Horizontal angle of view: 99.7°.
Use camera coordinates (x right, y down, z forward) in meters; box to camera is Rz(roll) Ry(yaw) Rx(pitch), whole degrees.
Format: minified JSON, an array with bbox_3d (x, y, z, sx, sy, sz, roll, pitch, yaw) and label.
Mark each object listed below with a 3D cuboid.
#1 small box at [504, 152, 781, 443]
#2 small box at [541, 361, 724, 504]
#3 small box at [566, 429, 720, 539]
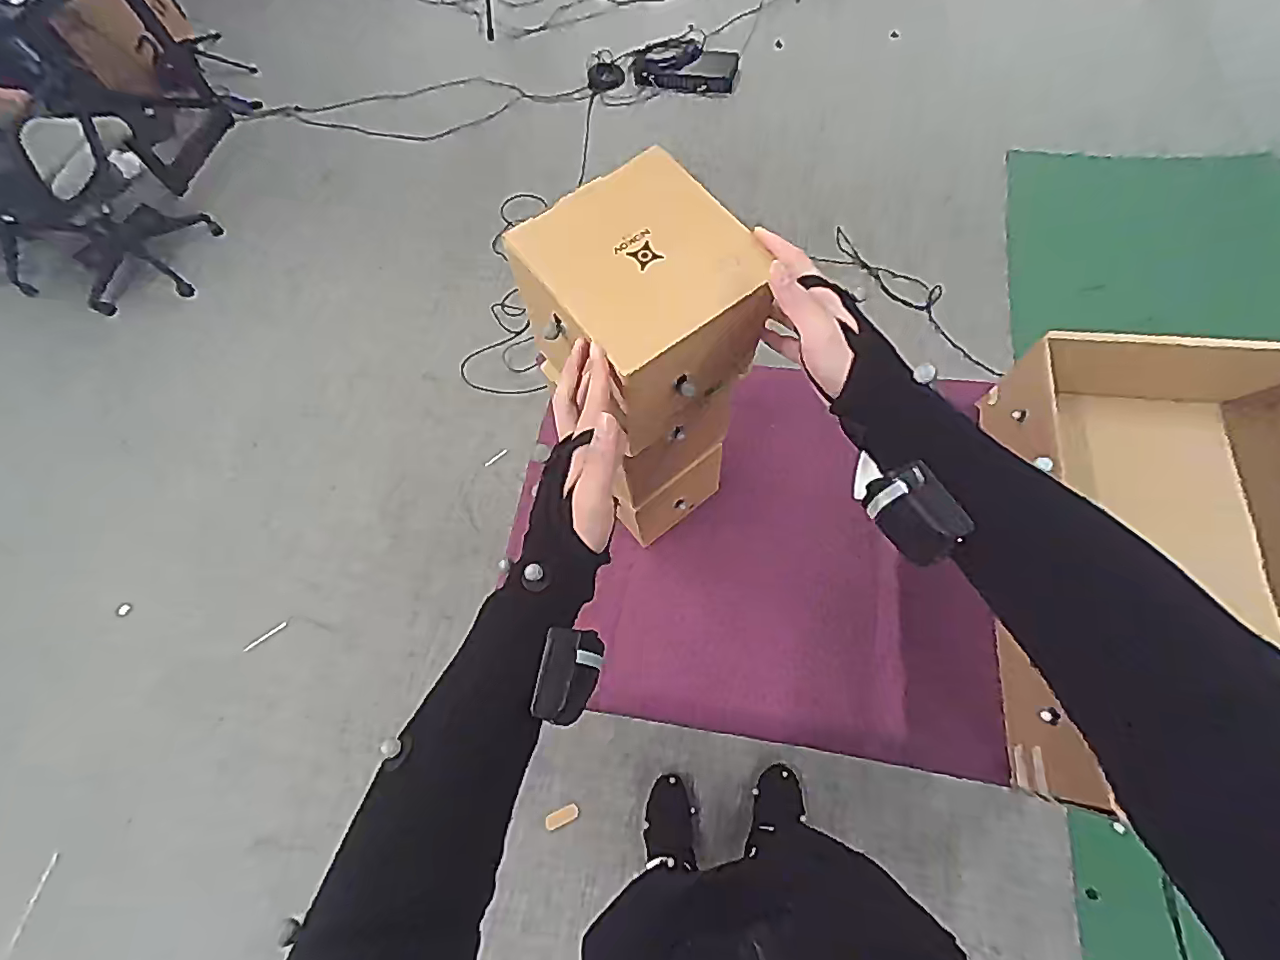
[{"bbox_3d":[0.003,-0.156,0.520,0.168,0.176,0.179,-36,73,-11],"label":"small box"},{"bbox_3d":[0.001,-0.096,0.720,0.179,0.176,0.168,-37,68,-11],"label":"small box"},{"bbox_3d":[0.010,-0.025,0.867,0.168,0.176,0.179,-37,67,-12],"label":"small box"}]
